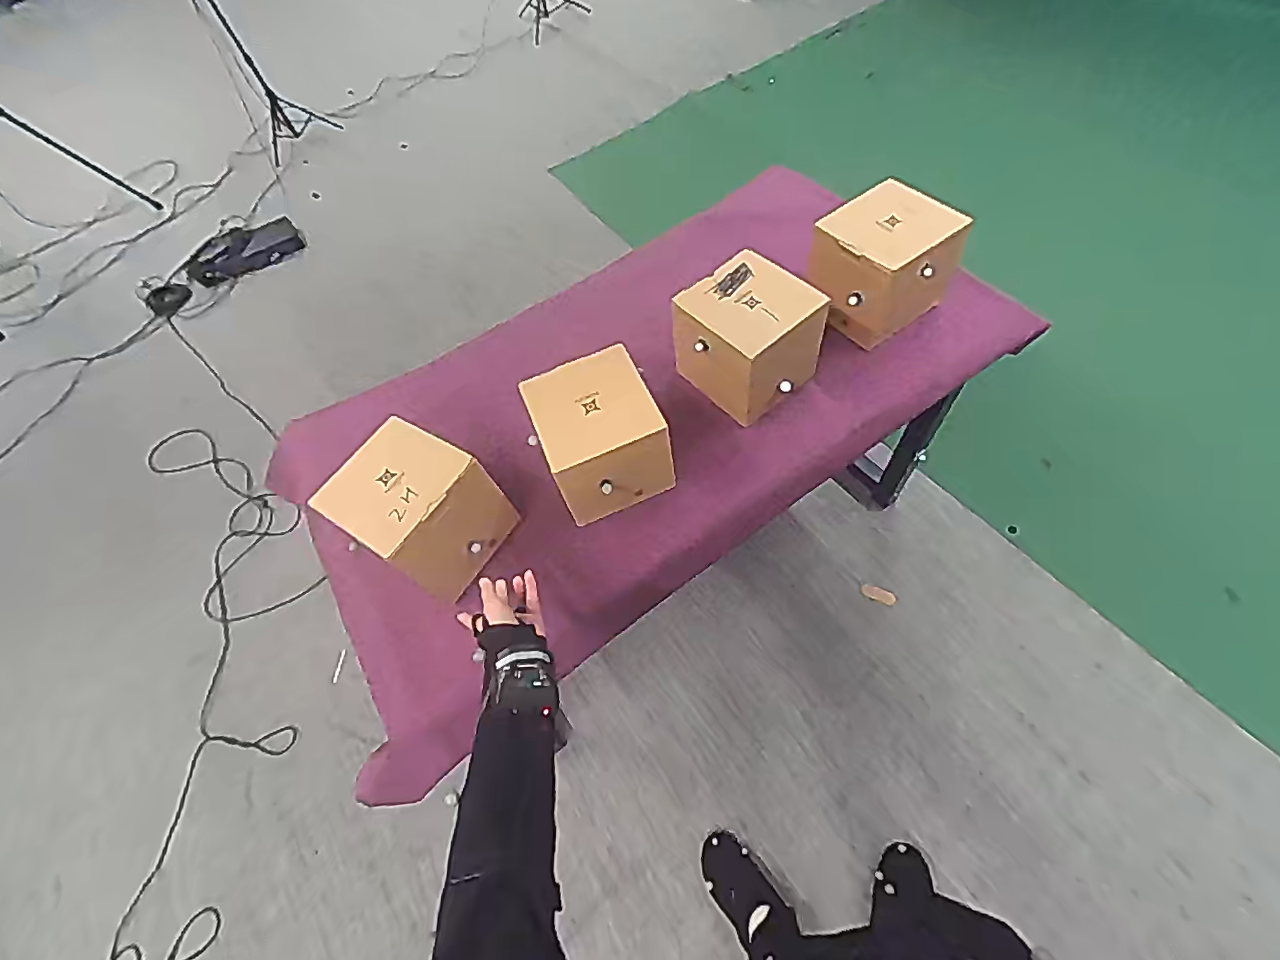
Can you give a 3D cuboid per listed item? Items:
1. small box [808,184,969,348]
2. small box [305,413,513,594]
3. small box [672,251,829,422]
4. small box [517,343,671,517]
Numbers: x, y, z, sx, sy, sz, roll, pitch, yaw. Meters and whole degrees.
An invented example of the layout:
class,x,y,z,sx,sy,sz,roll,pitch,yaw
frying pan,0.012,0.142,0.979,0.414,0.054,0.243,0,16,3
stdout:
class,x,y,z,sx,sy,sz,roll,pitch,yaw
small box,0.405,-0.358,0.920,0.179,0.176,0.168,-32,60,-11
small box,-0.317,0.039,0.775,0.179,0.176,0.168,25,67,23
small box,0.170,-0.227,0.876,0.168,0.176,0.179,-37,62,-14
small box,-0.062,-0.064,0.813,0.168,0.176,0.179,-23,58,-5
